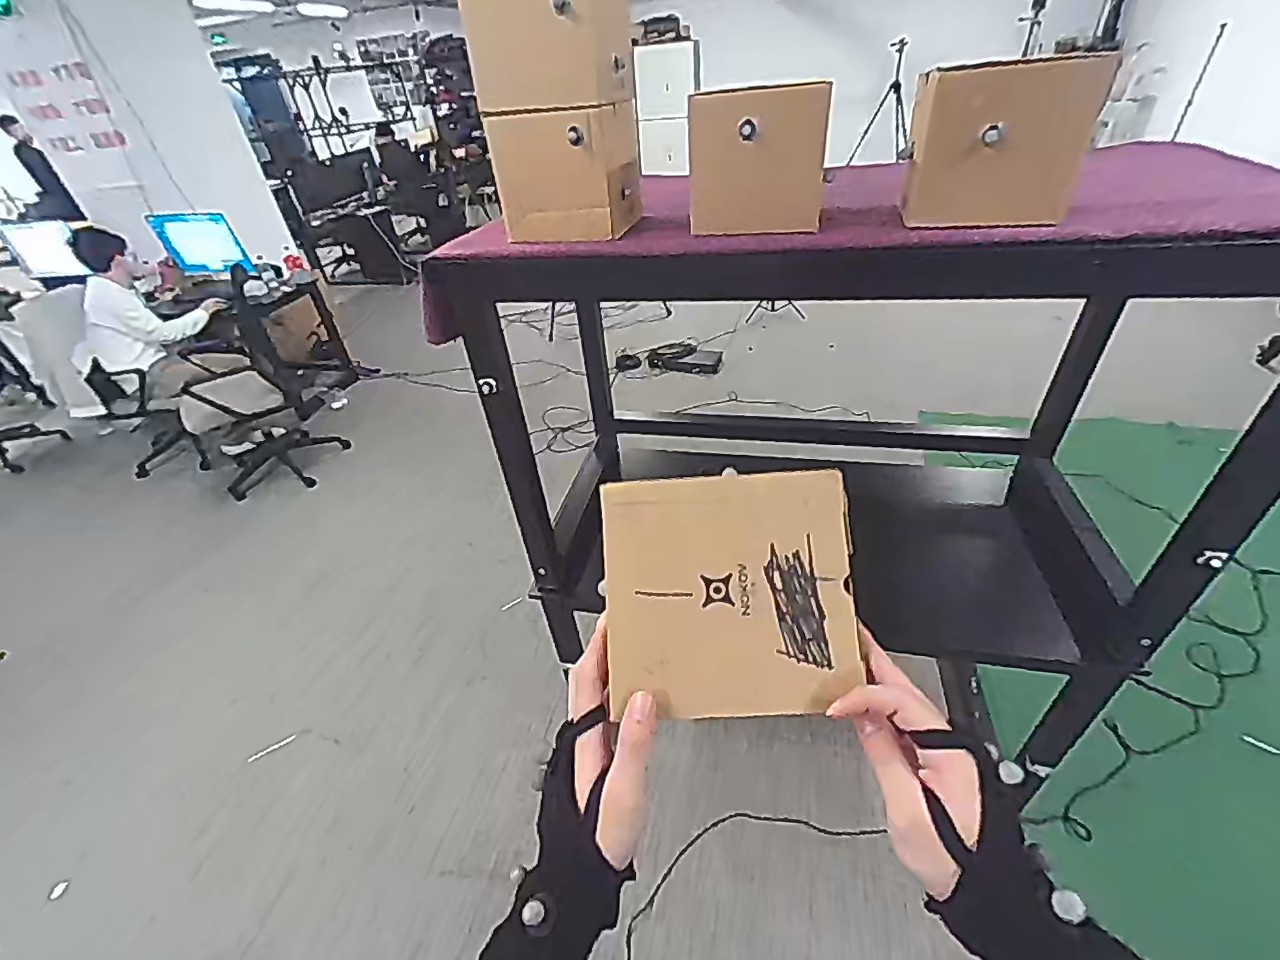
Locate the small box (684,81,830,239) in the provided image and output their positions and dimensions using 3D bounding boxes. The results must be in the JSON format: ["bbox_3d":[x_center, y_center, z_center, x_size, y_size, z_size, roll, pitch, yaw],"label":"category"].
[{"bbox_3d":[0.168,-0.447,0.761,0.179,0.176,0.168,5,38,16],"label":"small box"}]

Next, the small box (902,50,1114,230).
[{"bbox_3d":[0.442,-0.428,0.689,0.179,0.176,0.168,5,39,17],"label":"small box"}]

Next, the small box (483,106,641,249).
[{"bbox_3d":[-0.106,-0.460,0.826,0.179,0.176,0.168,5,38,15],"label":"small box"}]
